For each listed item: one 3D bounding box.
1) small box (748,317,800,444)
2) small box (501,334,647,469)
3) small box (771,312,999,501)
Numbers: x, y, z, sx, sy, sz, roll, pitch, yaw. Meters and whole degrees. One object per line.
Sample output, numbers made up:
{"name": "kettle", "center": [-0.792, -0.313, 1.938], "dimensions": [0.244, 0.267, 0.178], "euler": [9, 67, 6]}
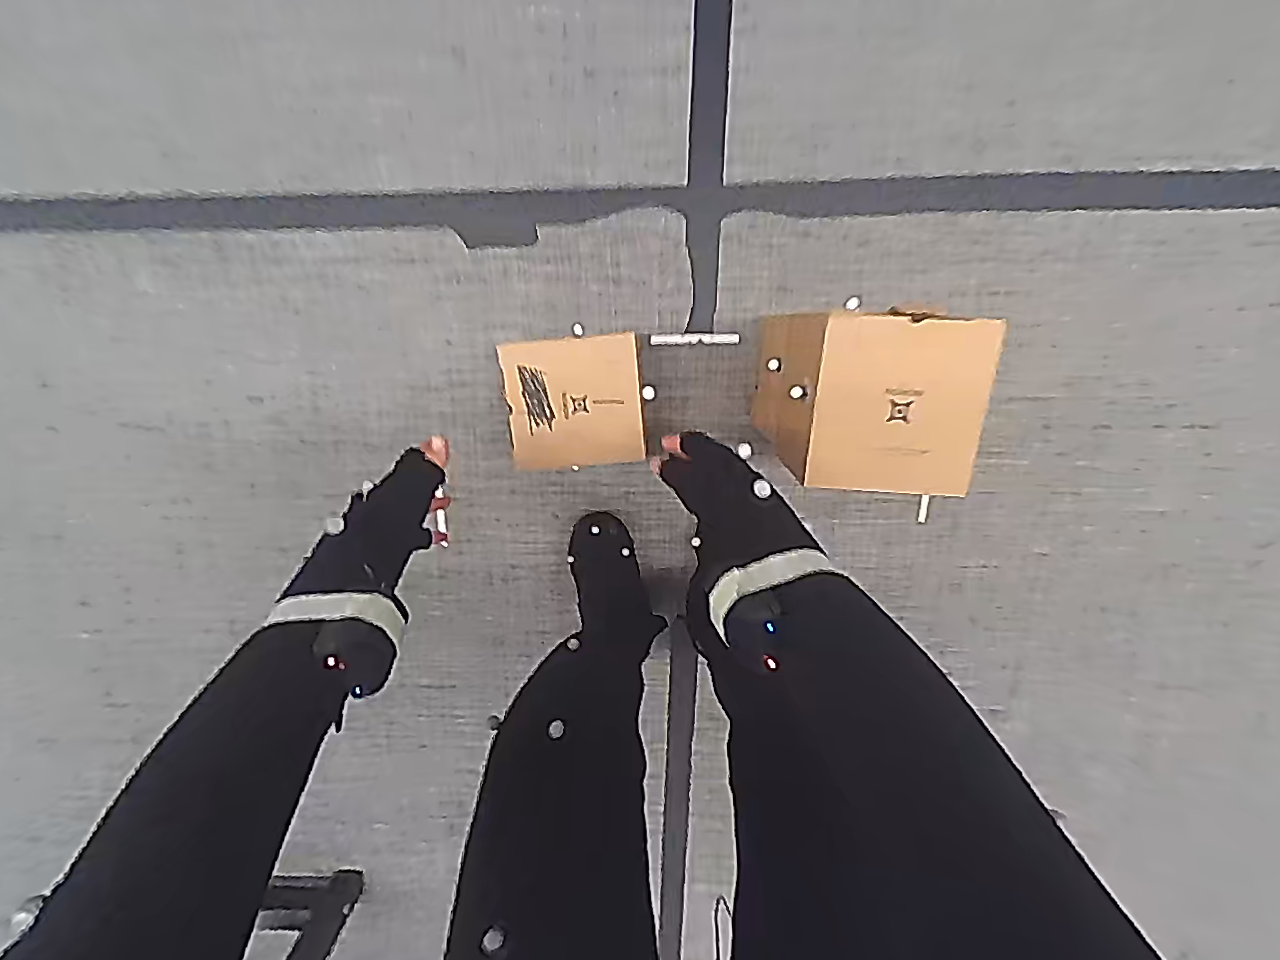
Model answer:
{"name": "small box", "center": [0.264, -0.137, 0.761], "dimensions": [0.179, 0.176, 0.168], "euler": [4, 105, -2]}
{"name": "small box", "center": [-0.082, -0.117, 0.771], "dimensions": [0.179, 0.176, 0.168], "euler": [-4, 106, 1]}
{"name": "small box", "center": [0.252, -0.090, 0.606], "dimensions": [0.168, 0.176, 0.179], "euler": [4, 107, 1]}
